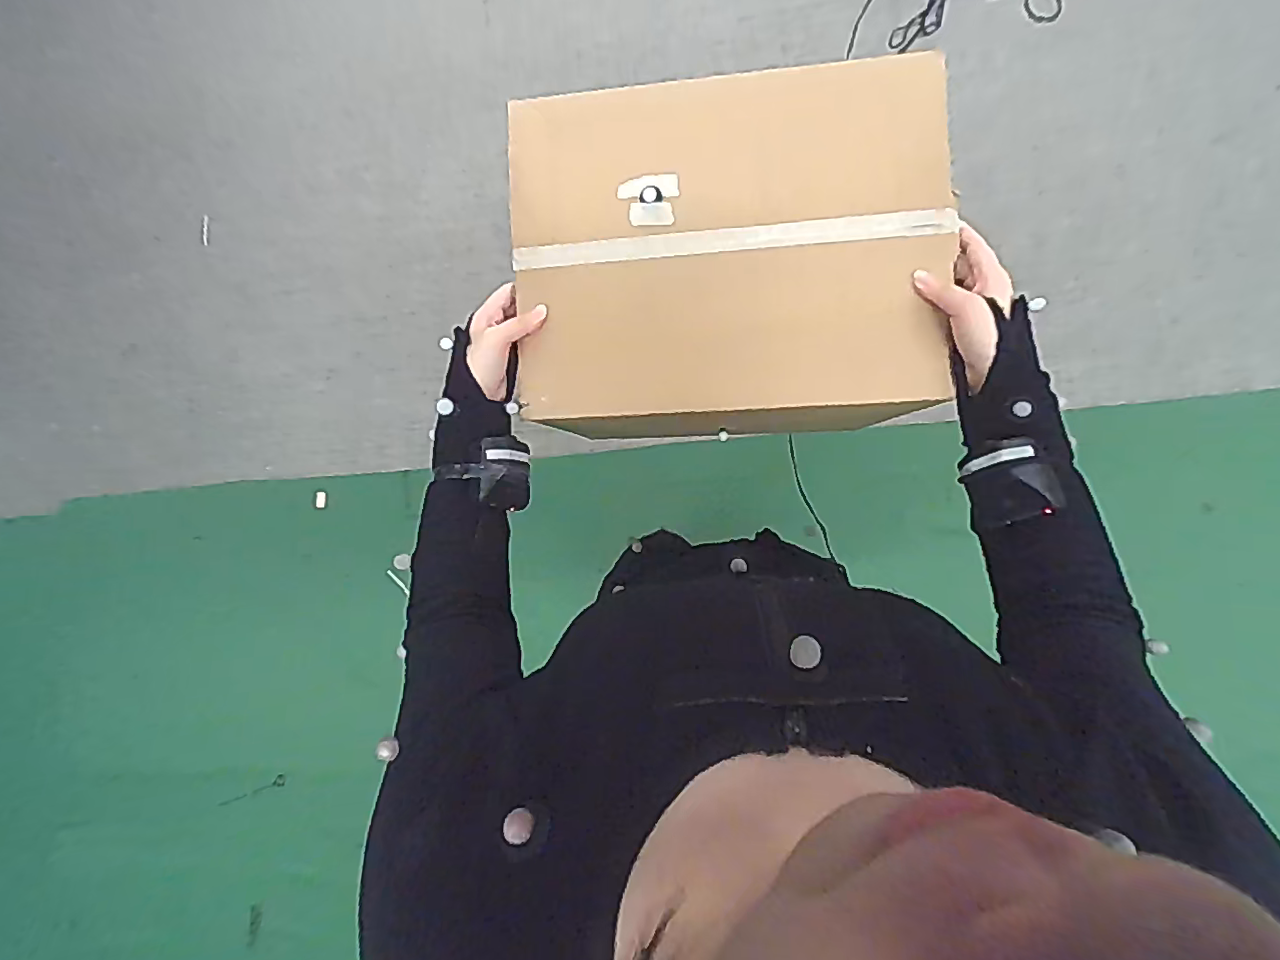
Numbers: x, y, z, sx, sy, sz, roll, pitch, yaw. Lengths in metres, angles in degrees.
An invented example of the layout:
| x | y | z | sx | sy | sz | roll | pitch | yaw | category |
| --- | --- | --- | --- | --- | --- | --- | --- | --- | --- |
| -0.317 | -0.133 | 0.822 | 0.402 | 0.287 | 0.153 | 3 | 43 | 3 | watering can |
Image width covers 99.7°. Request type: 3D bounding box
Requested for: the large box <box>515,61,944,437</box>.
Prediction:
| x | y | z | sx | sy | sz | roll | pitch | yaw | category |
| --- | --- | --- | --- | --- | --- | --- | --- | --- | --- |
| 0.099 | -0.223 | 0.668 | 0.408 | 0.320 | 0.320 | -2 | 90 | 9 | large box |
